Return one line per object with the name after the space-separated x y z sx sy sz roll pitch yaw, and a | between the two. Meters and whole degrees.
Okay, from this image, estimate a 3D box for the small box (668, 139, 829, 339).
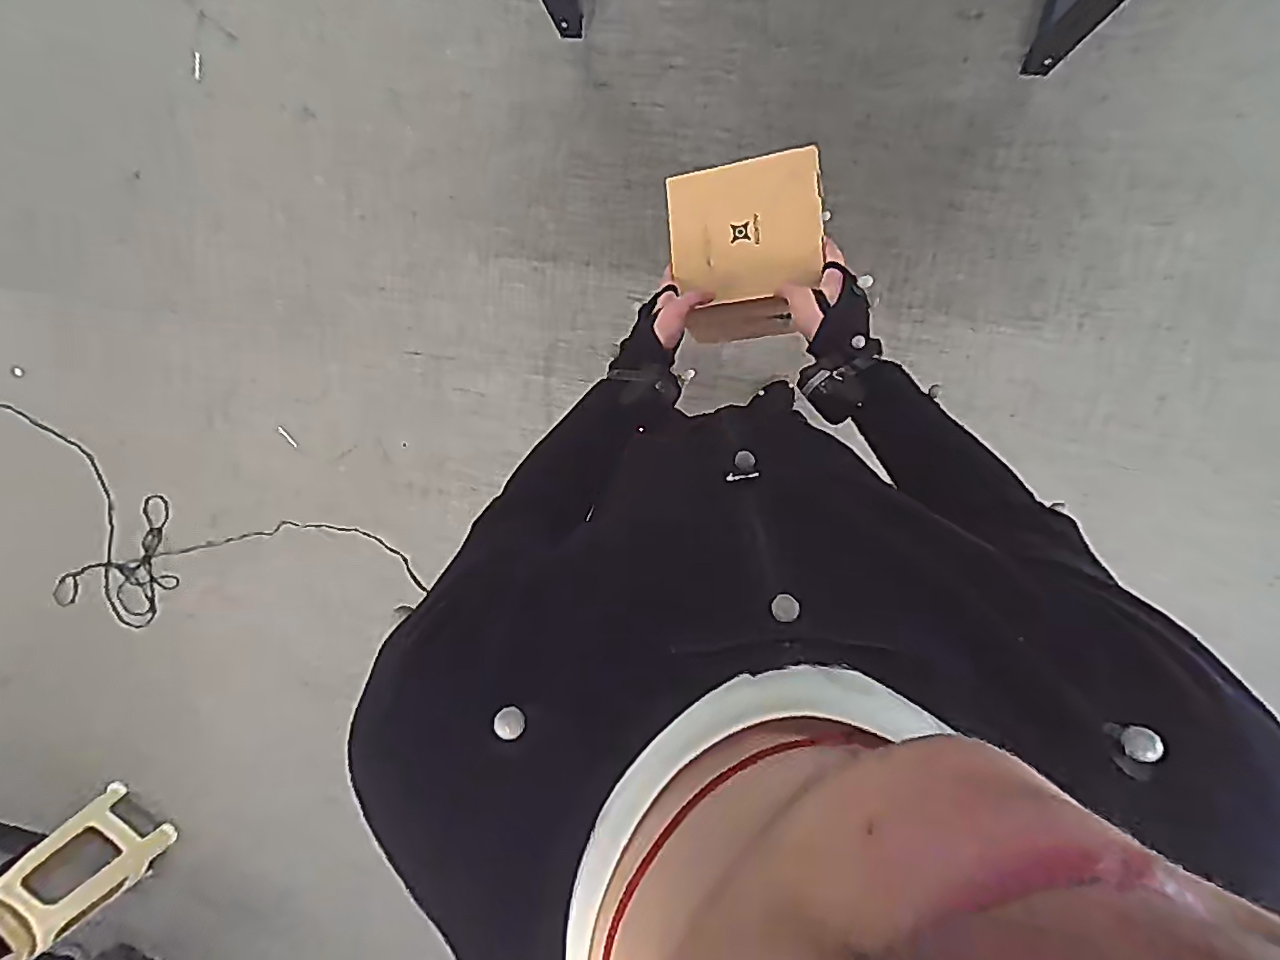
0.140 -0.290 0.690 0.179 0.176 0.168 -3 87 16 | small box
